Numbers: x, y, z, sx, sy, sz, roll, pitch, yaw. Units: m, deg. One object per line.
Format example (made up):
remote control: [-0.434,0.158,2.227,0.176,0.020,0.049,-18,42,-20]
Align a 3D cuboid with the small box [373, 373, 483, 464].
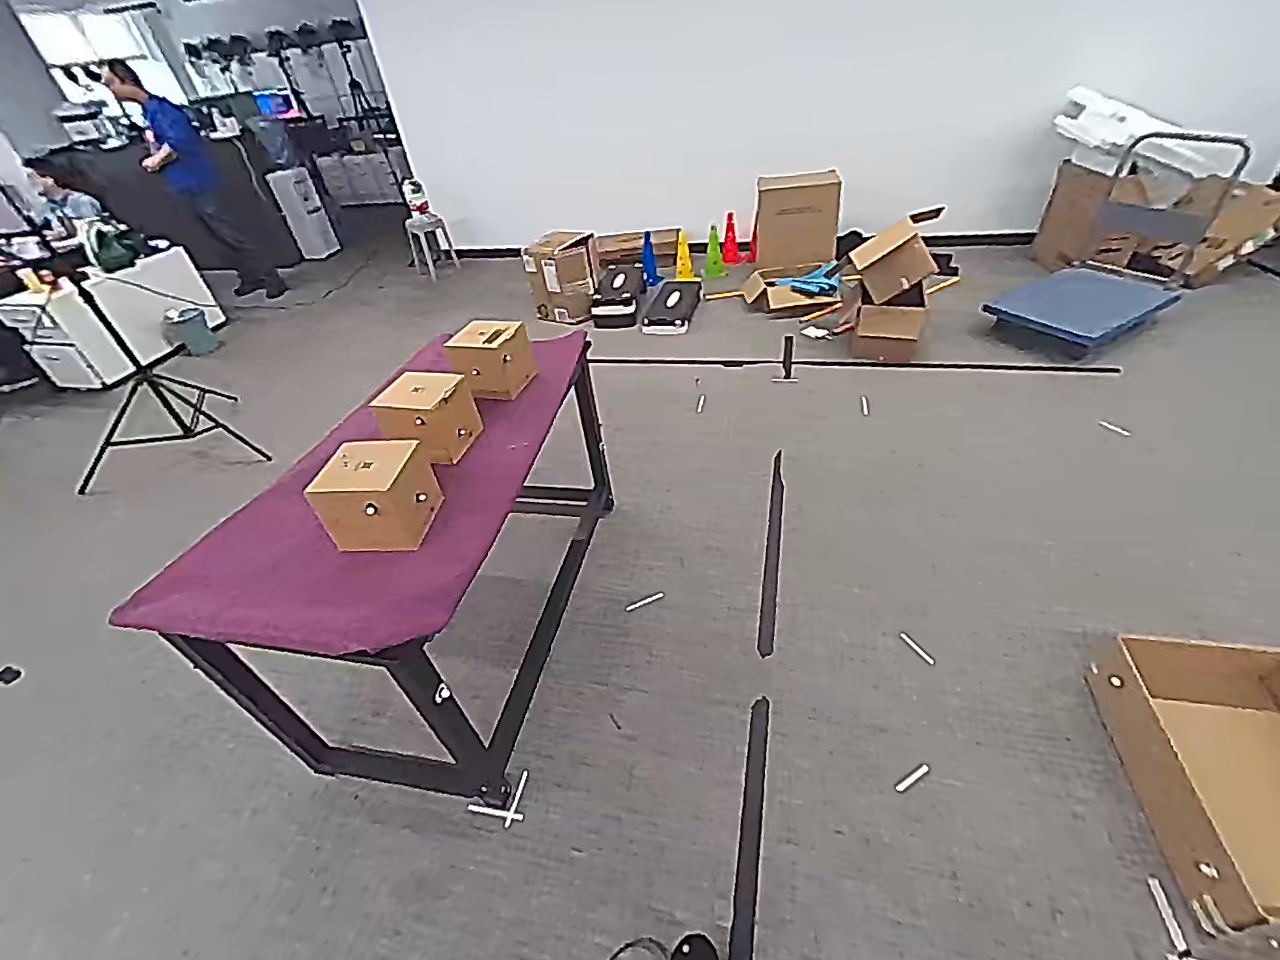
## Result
small box: [-0.529,-0.155,1.373,0.179,0.176,0.168,5,41,14]

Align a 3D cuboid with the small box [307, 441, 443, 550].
small box: [-0.544,0.034,1.143,0.179,0.176,0.168,-2,39,7]
